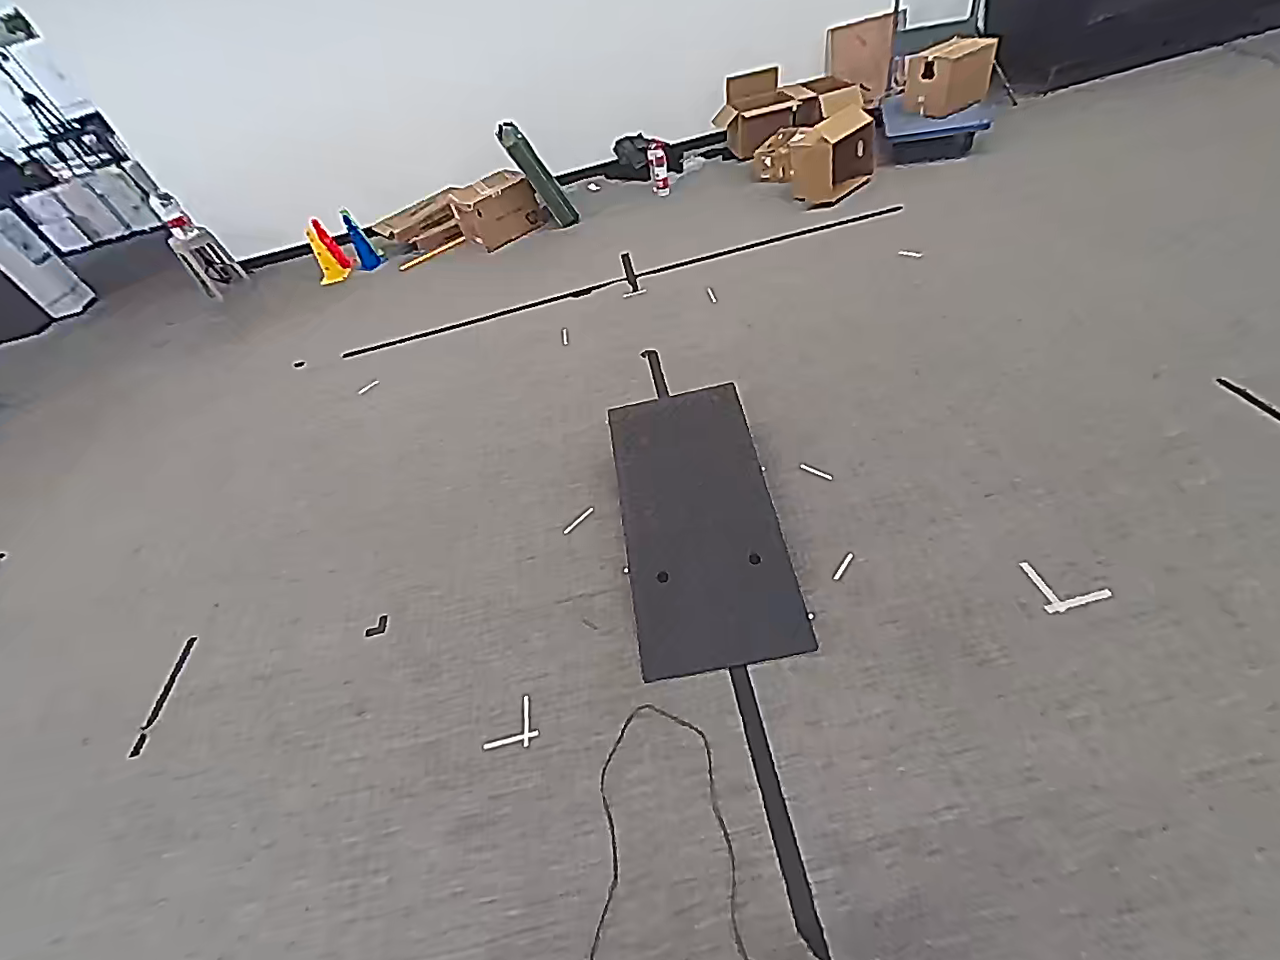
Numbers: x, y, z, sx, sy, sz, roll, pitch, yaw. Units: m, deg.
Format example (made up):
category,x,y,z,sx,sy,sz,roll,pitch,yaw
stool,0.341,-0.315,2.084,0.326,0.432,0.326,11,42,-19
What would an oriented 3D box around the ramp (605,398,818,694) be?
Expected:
category,x,y,z,sx,sy,sz,roll,pitch,yaw
ramp,0.182,0.147,1.781,0.509,0.206,0.991,-14,45,1
